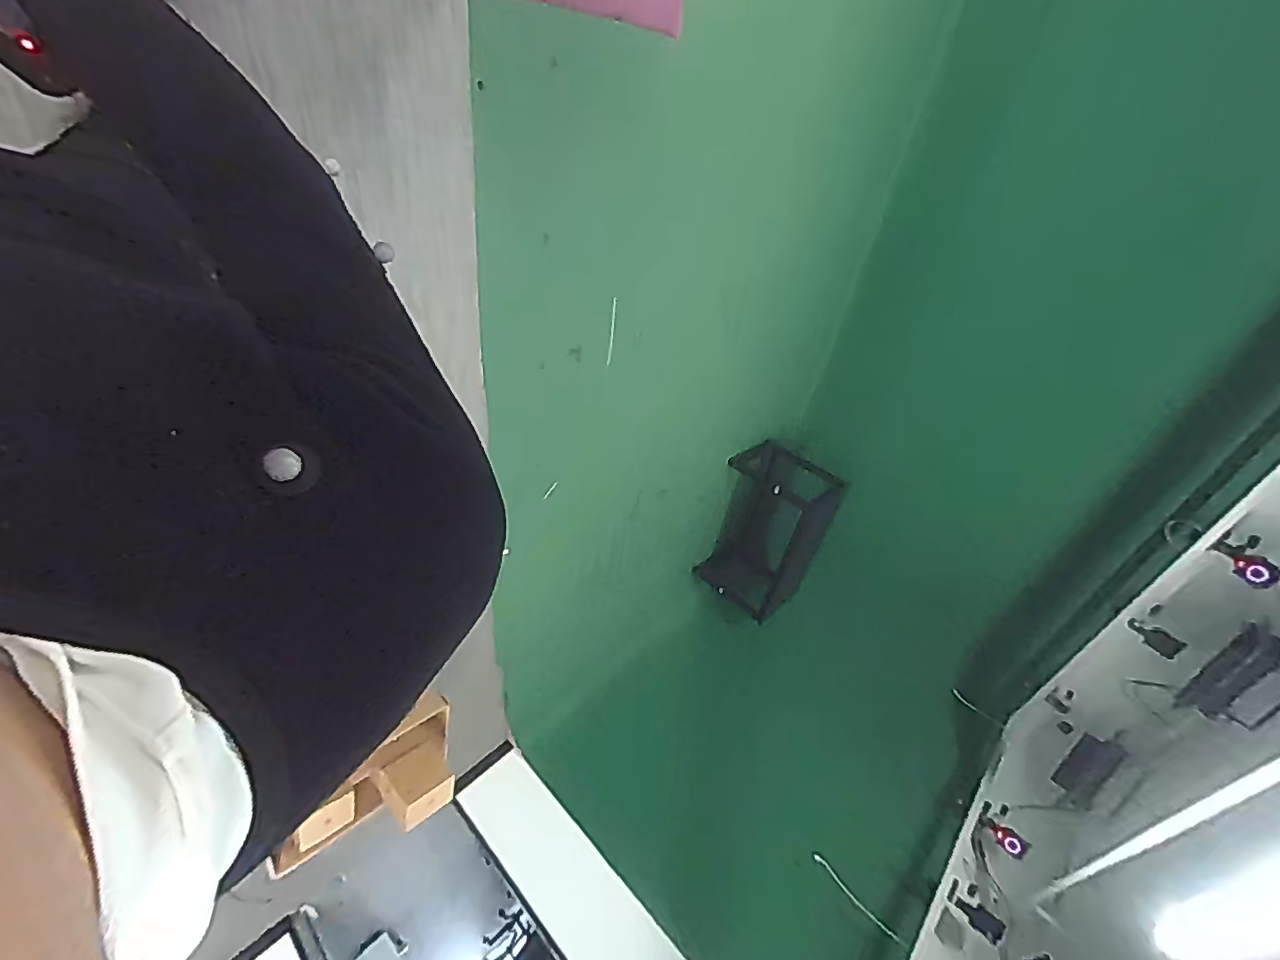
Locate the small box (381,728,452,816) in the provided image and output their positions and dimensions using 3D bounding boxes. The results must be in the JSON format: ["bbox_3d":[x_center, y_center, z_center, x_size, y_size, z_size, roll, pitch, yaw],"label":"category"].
[{"bbox_3d":[-0.785,1.016,1.897,0.179,0.176,0.168,-20,136,-43],"label":"small box"}]

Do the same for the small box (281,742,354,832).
[{"bbox_3d":[-1.080,1.016,1.809,0.168,0.176,0.179,-15,132,-46],"label":"small box"}]
